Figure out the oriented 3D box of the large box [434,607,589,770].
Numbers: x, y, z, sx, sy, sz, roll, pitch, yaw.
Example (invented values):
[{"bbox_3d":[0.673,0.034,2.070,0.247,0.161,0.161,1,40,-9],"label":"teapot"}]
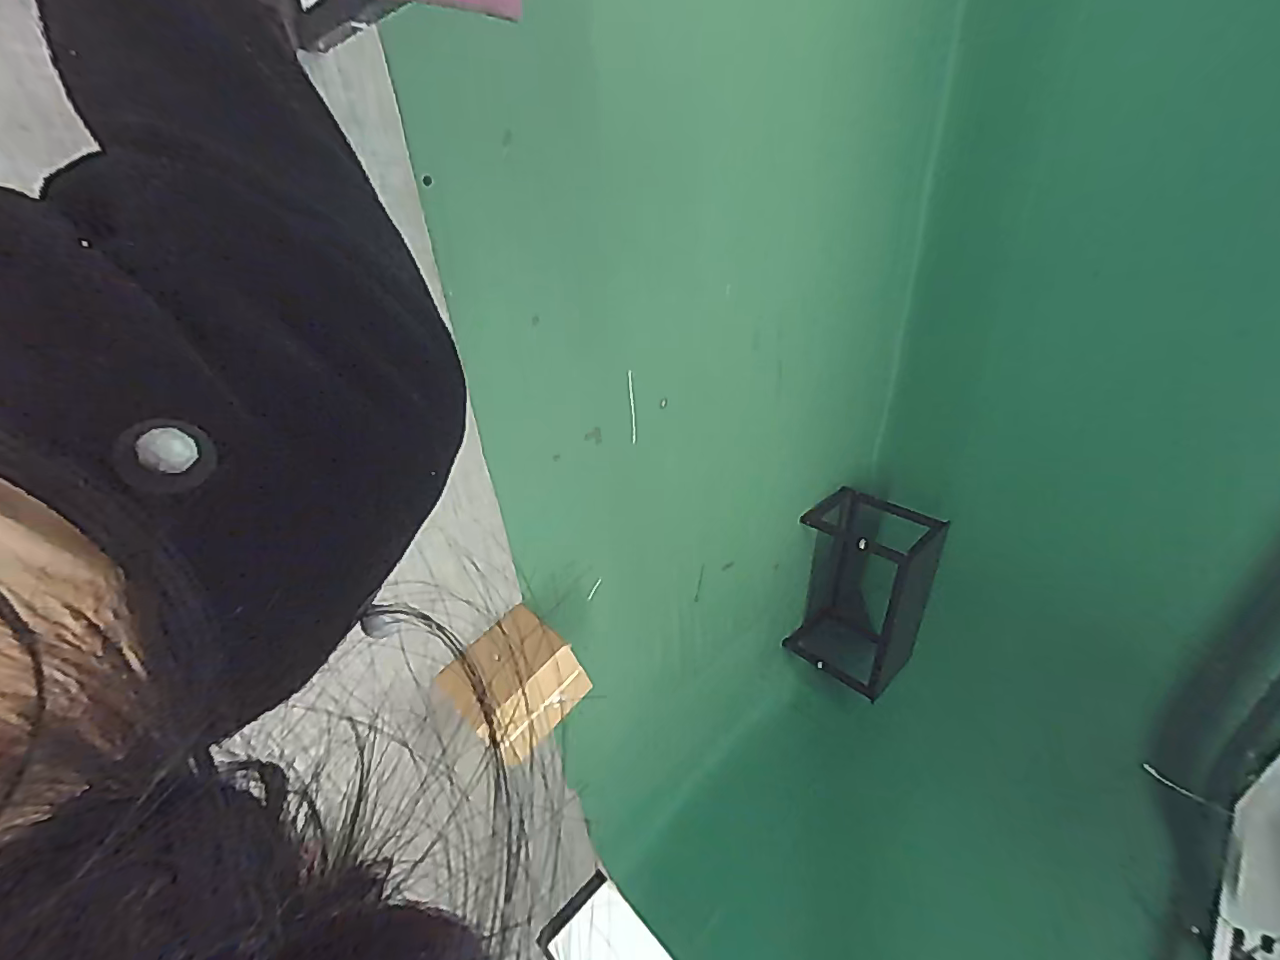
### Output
[{"bbox_3d":[-0.471,0.763,2.012,0.408,0.320,0.320,-42,135,-26],"label":"large box"}]
